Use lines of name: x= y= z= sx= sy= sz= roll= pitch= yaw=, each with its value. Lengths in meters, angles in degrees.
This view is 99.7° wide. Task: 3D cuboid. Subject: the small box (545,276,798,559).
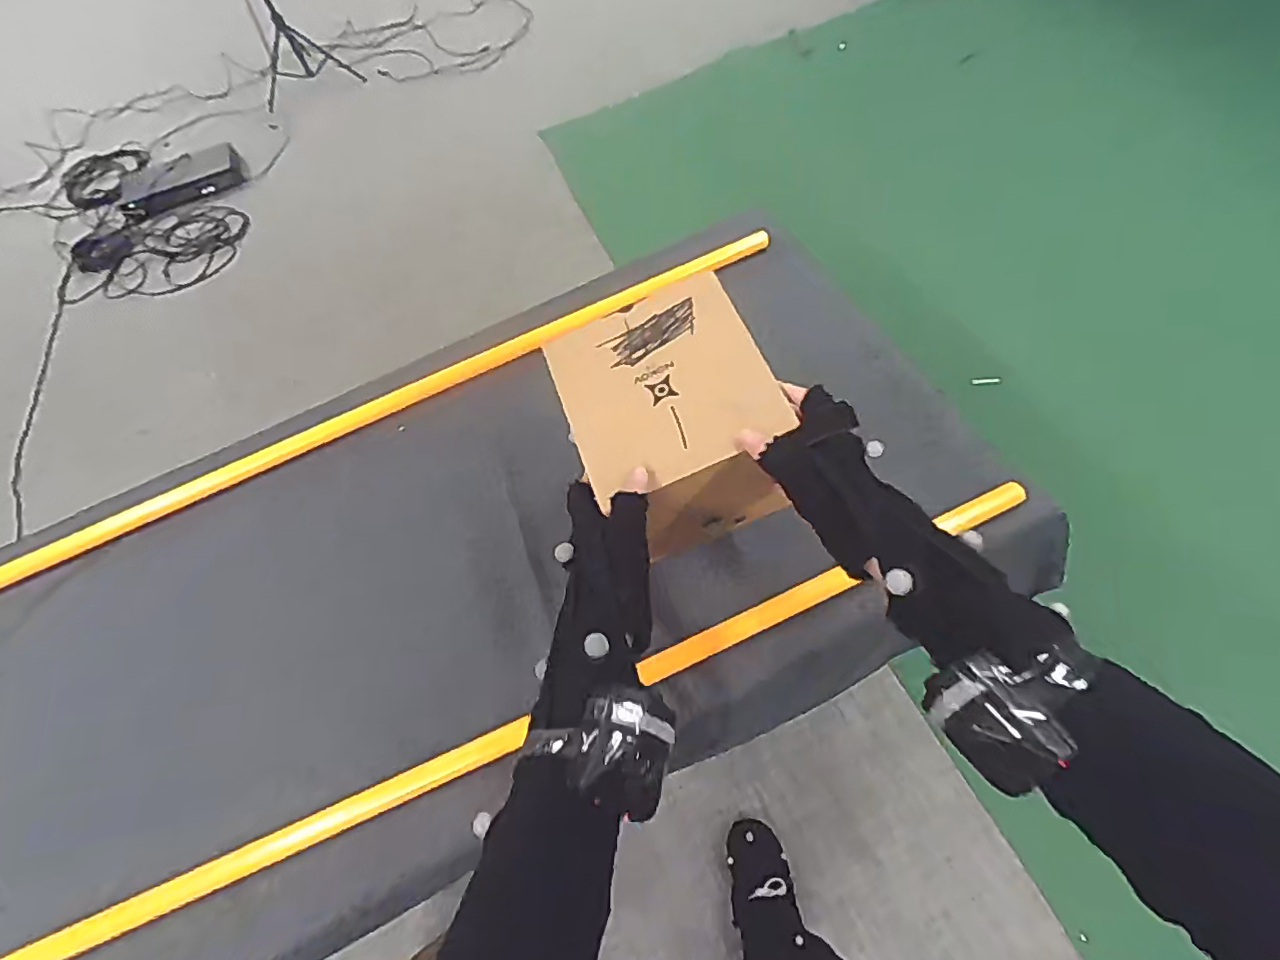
small box: x=0.033 y=-0.046 z=0.510 sx=0.168 sy=0.176 sz=0.179 roll=-23 pitch=66 yaw=5

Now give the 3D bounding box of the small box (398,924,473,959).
small box: x=-0.354 y=0.864 z=0.853 sx=0.168 sy=0.176 sz=0.179 roll=-41 pitch=67 yaw=-11
